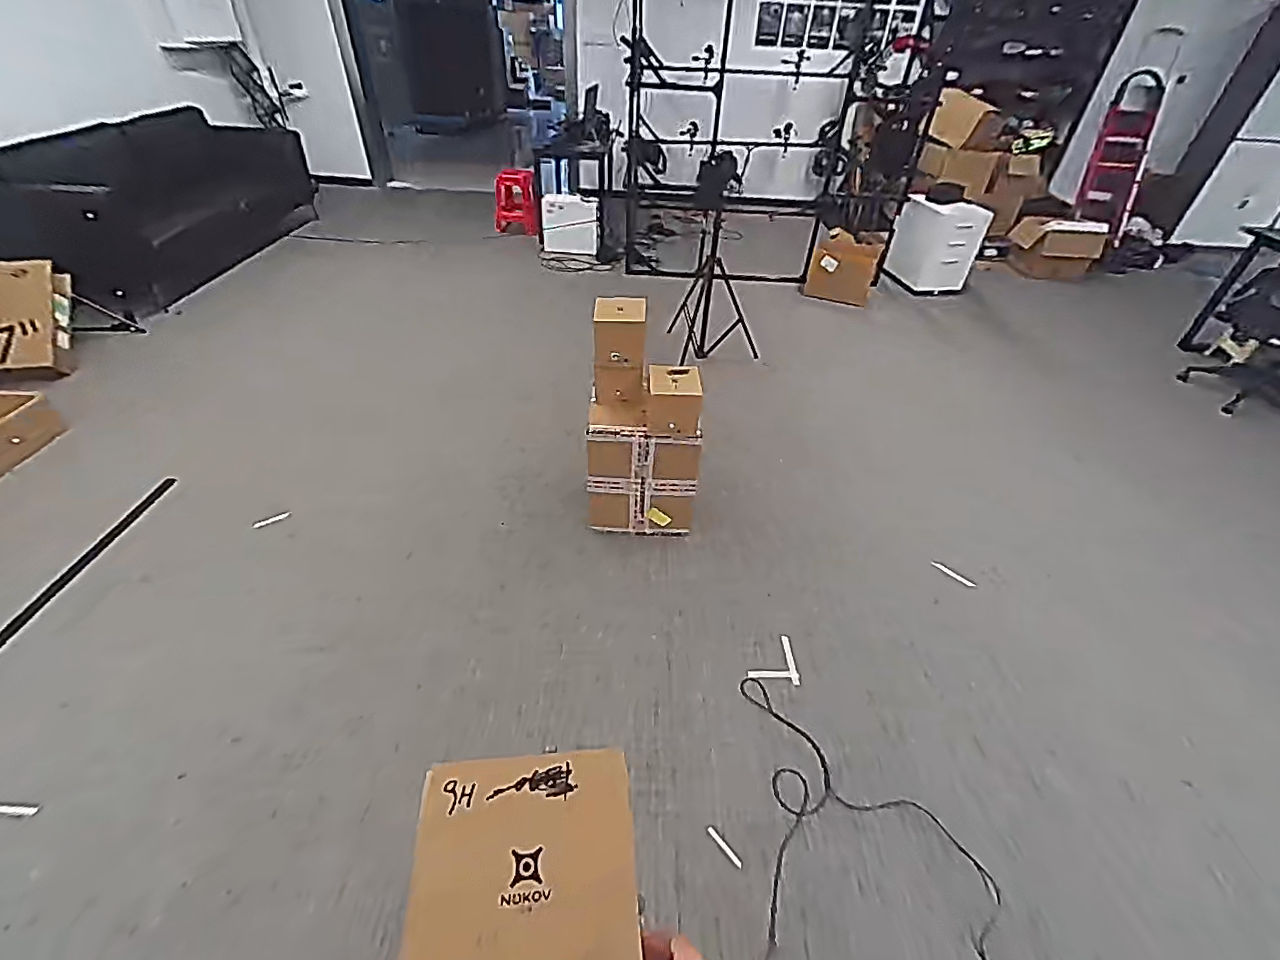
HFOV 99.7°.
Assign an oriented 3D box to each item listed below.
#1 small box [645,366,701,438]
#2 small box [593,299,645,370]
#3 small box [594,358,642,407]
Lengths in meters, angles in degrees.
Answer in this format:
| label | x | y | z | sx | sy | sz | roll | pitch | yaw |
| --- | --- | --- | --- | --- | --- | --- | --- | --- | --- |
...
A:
| label | x | y | z | sx | sy | sz | roll | pitch | yaw |
| --- | --- | --- | --- | --- | --- | --- | --- | --- | --- |
| small box | 0.105 | -0.261 | 1.806 | 0.168 | 0.176 | 0.179 | 1 | 43 | -3 |
| small box | -0.067 | -0.487 | 1.806 | 0.168 | 0.176 | 0.179 | 0 | 43 | 0 |
| small box | -0.077 | -0.381 | 1.931 | 0.168 | 0.176 | 0.179 | 1 | 43 | 0 |
